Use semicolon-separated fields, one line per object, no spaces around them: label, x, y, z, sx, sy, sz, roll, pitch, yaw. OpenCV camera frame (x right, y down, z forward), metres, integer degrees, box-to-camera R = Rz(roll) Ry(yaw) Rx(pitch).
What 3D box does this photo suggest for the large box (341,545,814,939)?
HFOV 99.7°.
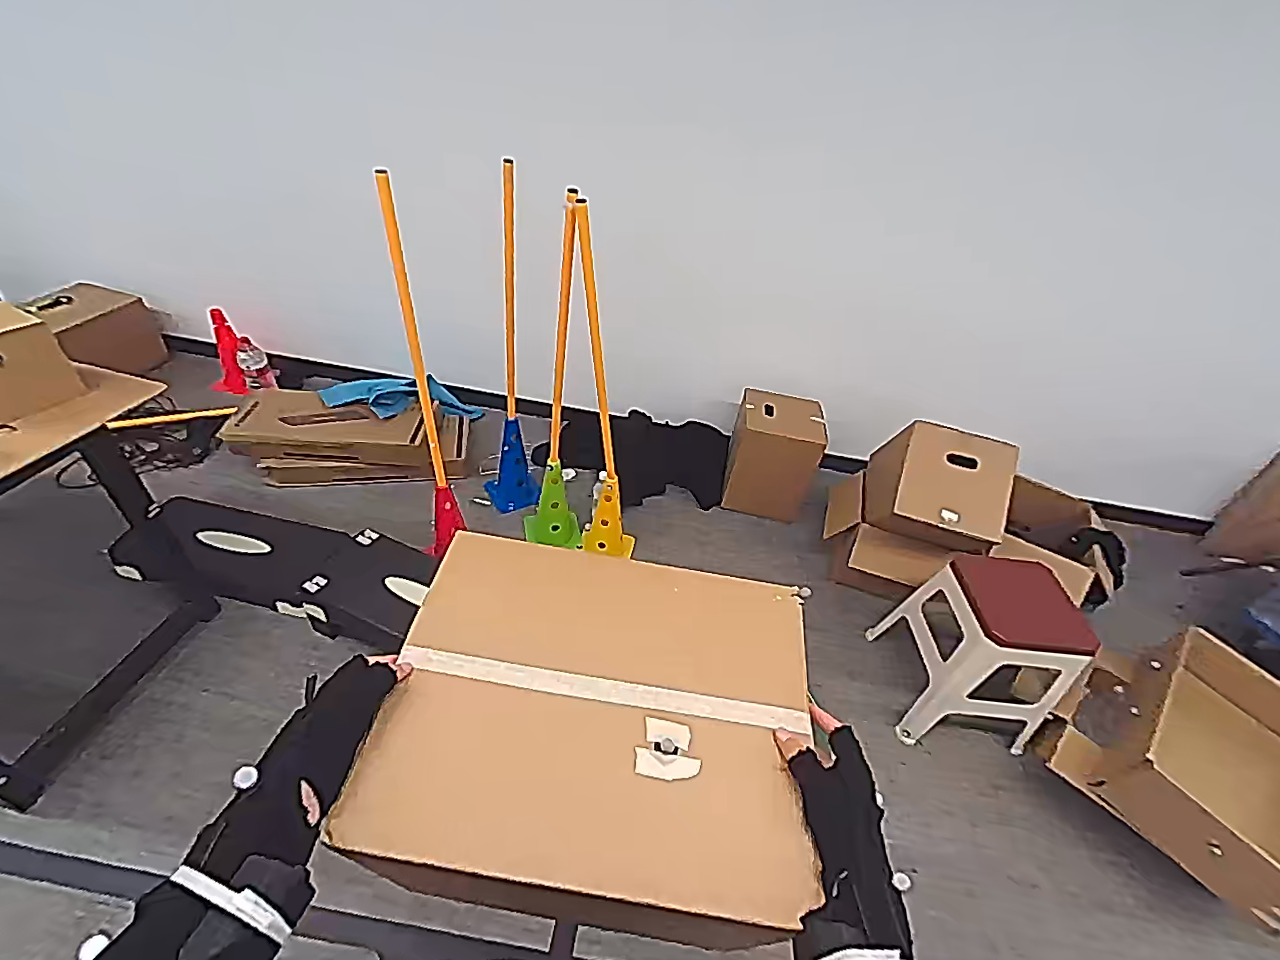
large box;-0.052;0.316;0.650;0.408;0.320;0.320;10;48;1
